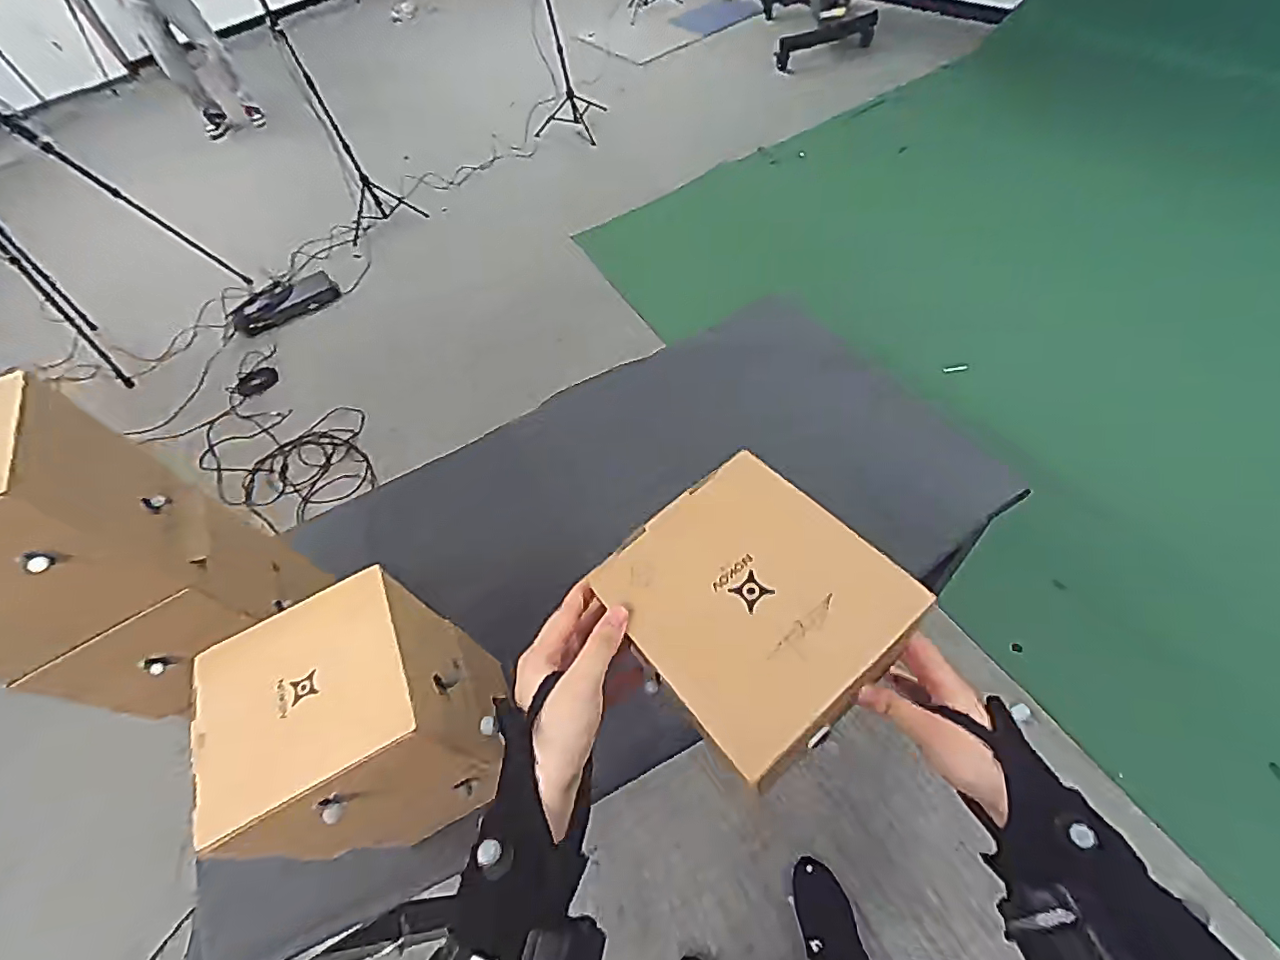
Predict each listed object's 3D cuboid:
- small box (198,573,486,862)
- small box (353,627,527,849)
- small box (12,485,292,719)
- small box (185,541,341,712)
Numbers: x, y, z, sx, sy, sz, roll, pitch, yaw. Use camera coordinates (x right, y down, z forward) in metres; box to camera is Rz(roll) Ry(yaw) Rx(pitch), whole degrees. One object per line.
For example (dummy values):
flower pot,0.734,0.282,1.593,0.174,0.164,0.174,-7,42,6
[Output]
small box,-0.265,0.223,0.511,0.179,0.176,0.168,-28,55,-8
small box,-0.251,0.310,0.648,0.179,0.176,0.168,-27,54,-8
small box,-0.536,0.144,0.622,0.179,0.176,0.168,-32,57,-10
small box,-0.519,0.226,0.765,0.168,0.176,0.179,-32,56,-11
